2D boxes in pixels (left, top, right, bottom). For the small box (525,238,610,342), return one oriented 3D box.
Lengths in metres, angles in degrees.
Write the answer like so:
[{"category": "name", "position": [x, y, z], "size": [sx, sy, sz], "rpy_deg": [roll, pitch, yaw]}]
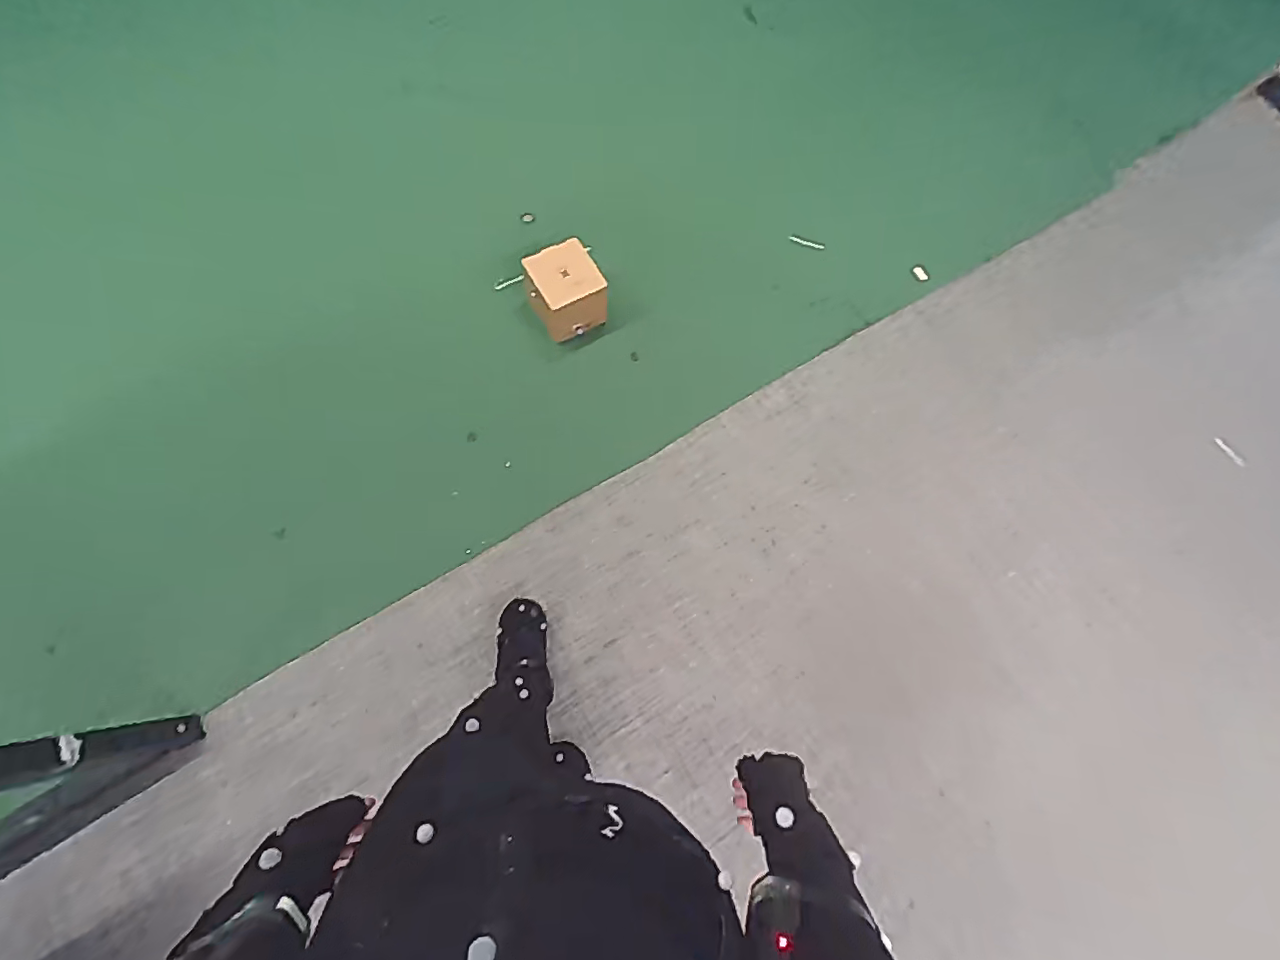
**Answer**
[{"category": "small box", "position": [-0.198, -0.516, 1.482], "size": [0.168, 0.176, 0.179], "rpy_deg": [-30, 79, -12]}]
